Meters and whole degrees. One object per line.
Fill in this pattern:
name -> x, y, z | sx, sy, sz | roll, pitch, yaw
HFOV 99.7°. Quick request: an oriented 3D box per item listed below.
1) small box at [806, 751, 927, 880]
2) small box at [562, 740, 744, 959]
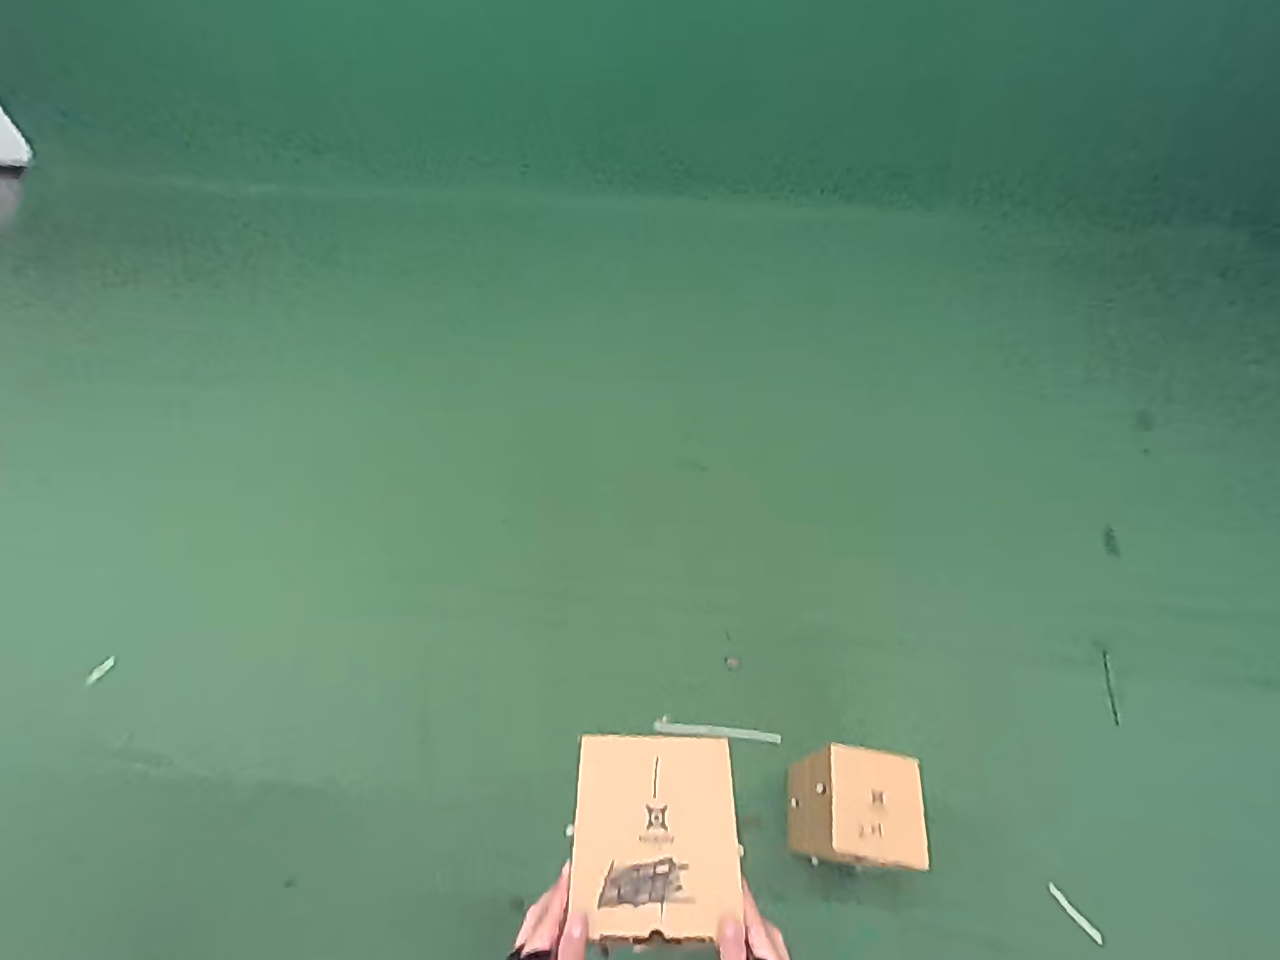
small box -> 0.426, 0.647, 1.045 | 0.168, 0.176, 0.179 | 9, 56, 5
small box -> 0.012, 0.406, 0.592 | 0.168, 0.176, 0.179 | 2, 46, -1
